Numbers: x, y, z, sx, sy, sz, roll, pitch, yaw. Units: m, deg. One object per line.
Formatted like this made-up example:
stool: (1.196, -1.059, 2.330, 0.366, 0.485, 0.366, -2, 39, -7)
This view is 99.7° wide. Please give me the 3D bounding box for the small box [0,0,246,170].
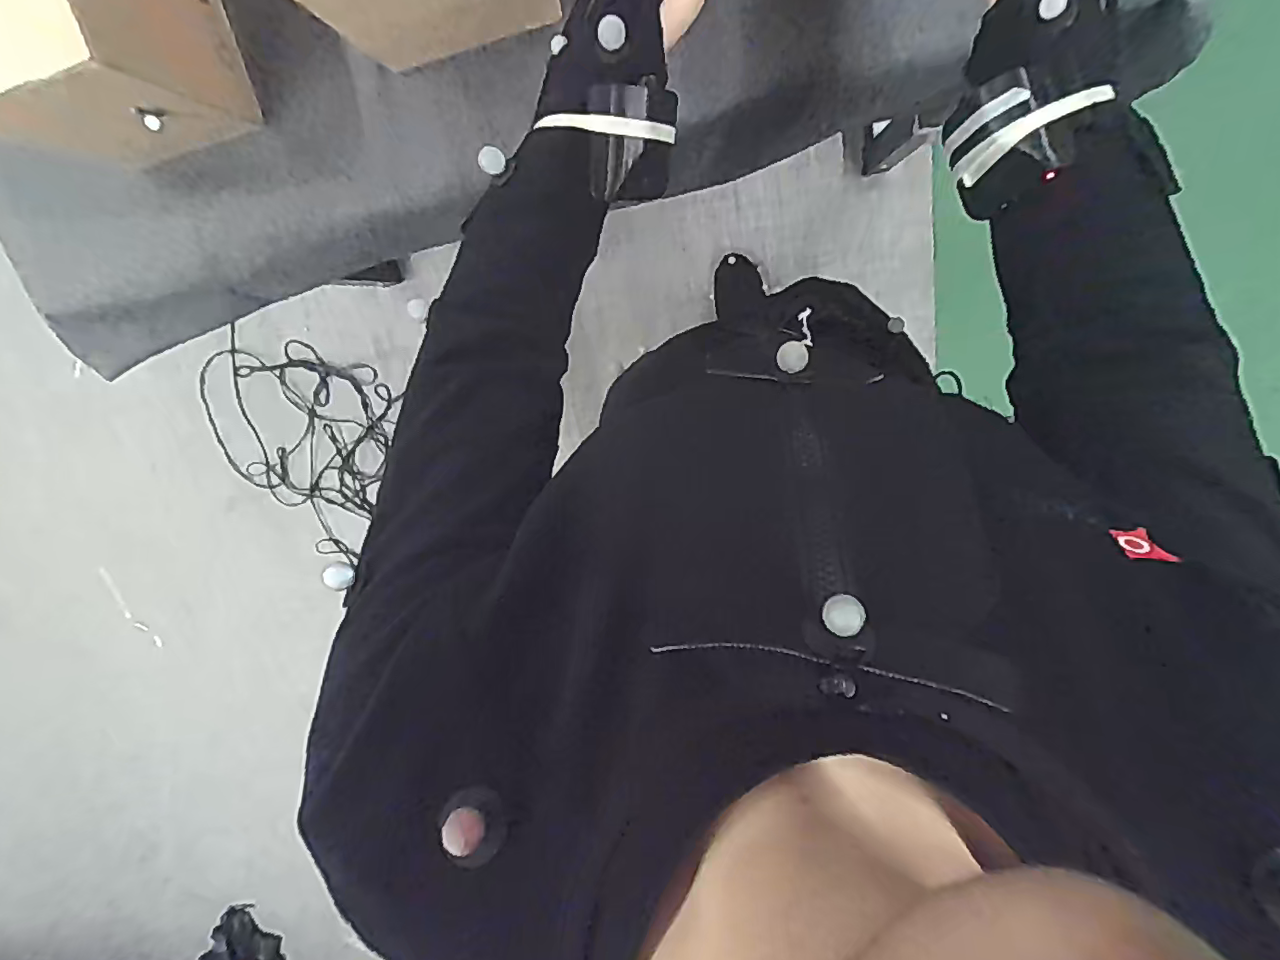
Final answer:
small box: (-0.493, -0.397, 0.471, 0.179, 0.176, 0.168, -10, 105, 12)
